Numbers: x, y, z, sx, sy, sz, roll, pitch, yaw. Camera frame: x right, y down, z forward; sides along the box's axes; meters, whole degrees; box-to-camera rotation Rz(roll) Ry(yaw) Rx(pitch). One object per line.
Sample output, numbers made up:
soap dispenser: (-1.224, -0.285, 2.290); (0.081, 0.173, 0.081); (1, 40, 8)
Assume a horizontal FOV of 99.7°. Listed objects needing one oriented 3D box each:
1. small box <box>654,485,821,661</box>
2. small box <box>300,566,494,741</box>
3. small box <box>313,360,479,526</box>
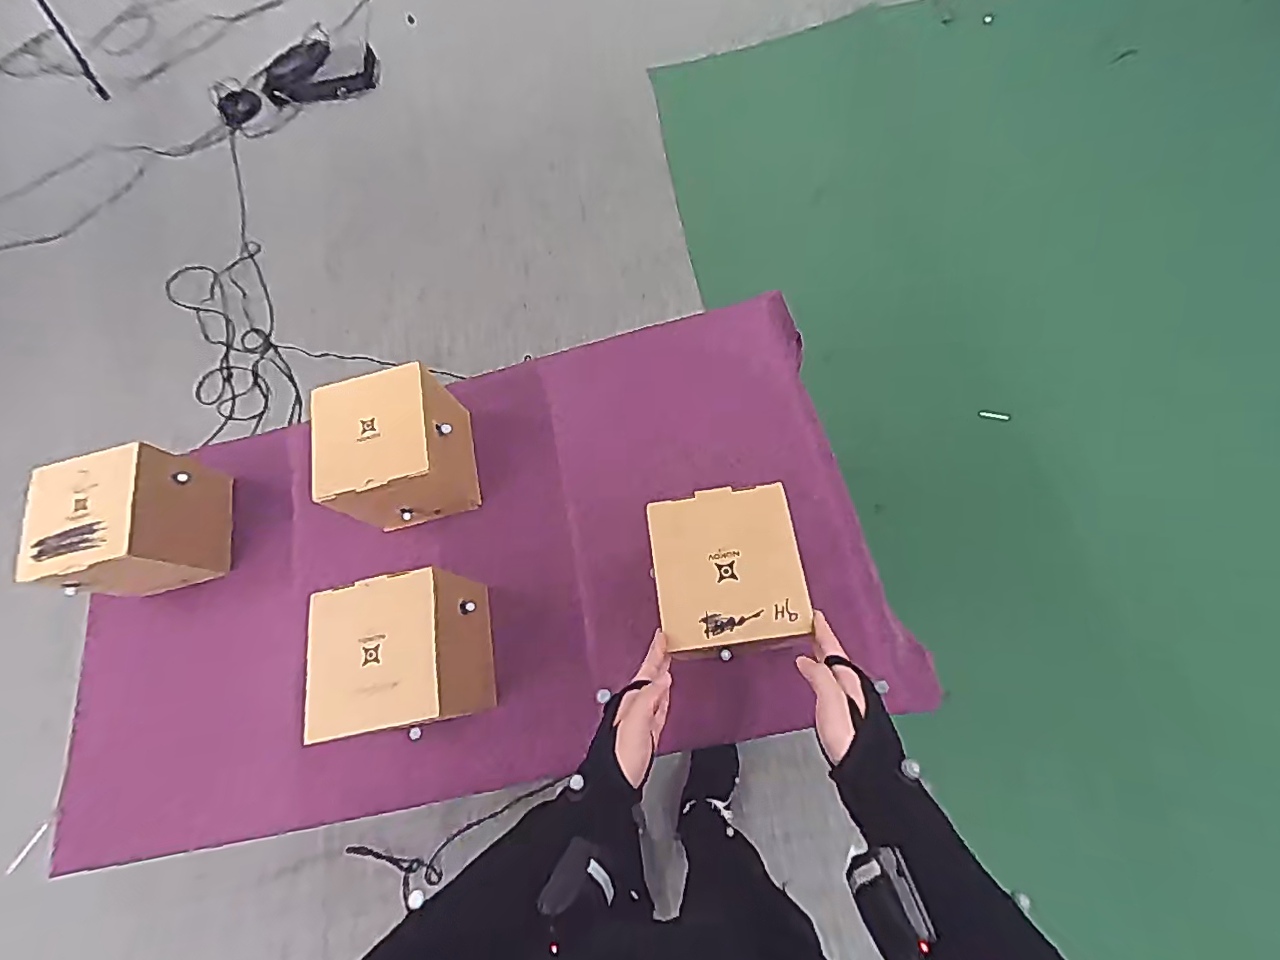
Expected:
small box: (0.114, 0.125, 0.680); (0.168, 0.176, 0.179); (-9, 69, 6)
small box: (-0.301, 0.226, 0.701); (0.168, 0.176, 0.179); (-12, 69, 4)
small box: (-0.355, -0.047, 0.808); (0.168, 0.176, 0.179); (-14, 70, 2)
